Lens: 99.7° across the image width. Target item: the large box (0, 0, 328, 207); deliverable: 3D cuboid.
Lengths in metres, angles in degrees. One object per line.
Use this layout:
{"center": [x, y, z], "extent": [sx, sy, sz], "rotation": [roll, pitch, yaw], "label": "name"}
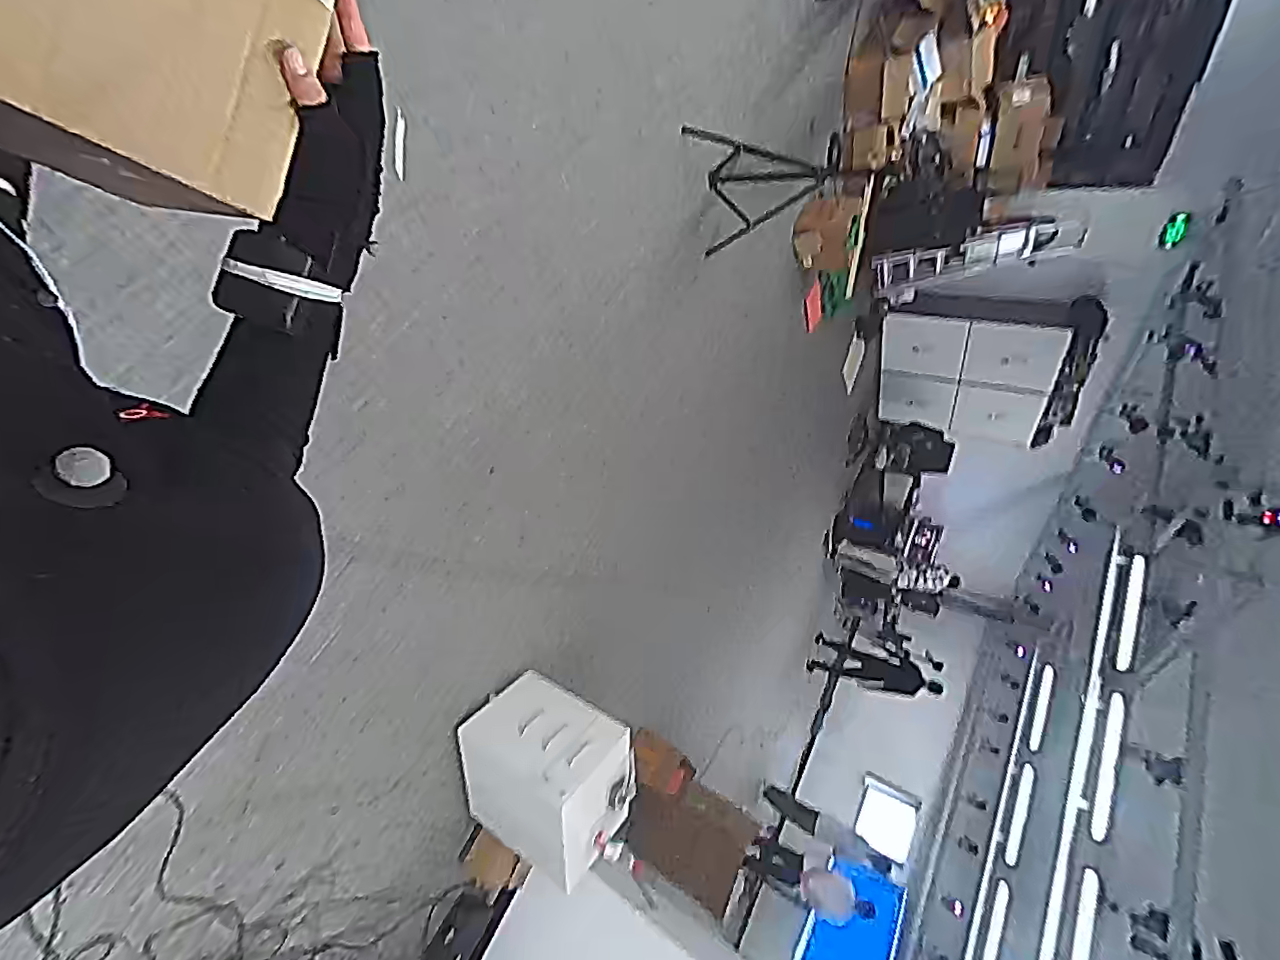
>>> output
{"center": [-0.443, -0.401, 0.293], "extent": [0.408, 0.320, 0.320], "rotation": [12, 99, -57], "label": "large box"}
